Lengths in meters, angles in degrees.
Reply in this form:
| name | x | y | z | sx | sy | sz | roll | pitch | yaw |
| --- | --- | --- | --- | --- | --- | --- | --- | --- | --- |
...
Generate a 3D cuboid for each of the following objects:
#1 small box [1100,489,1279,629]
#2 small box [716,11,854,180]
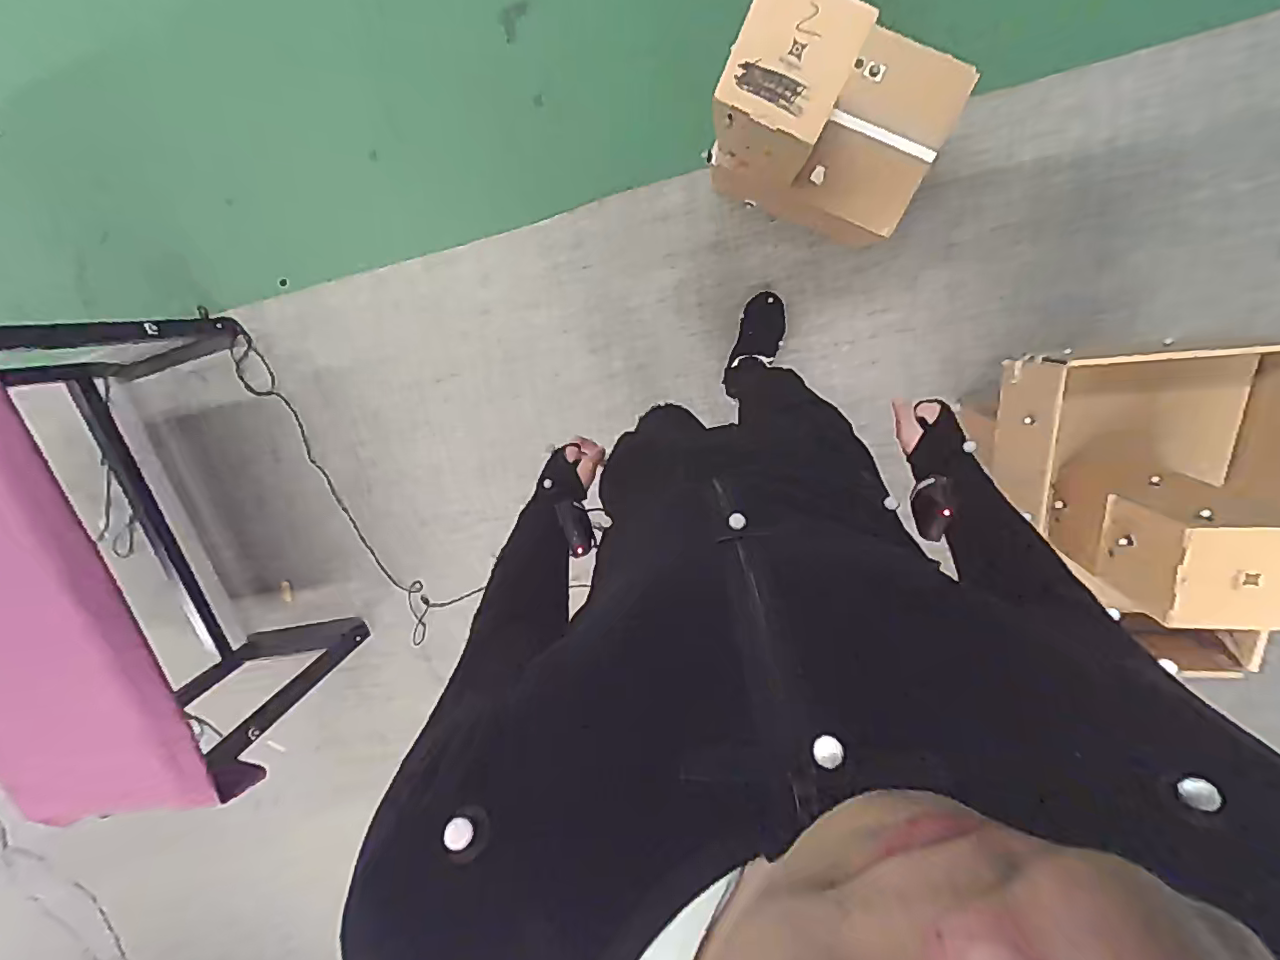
| name | x | y | z | sx | sy | sz | roll | pitch | yaw |
| --- | --- | --- | --- | --- | --- | --- | --- | --- | --- |
| small box | 0.887 | 0.116 | 0.852 | 0.179 | 0.176 | 0.168 | -2 | 107 | 11 |
| small box | 0.252 | -0.674 | 0.976 | 0.168 | 0.176 | 0.179 | 27 | 110 | -1 |
